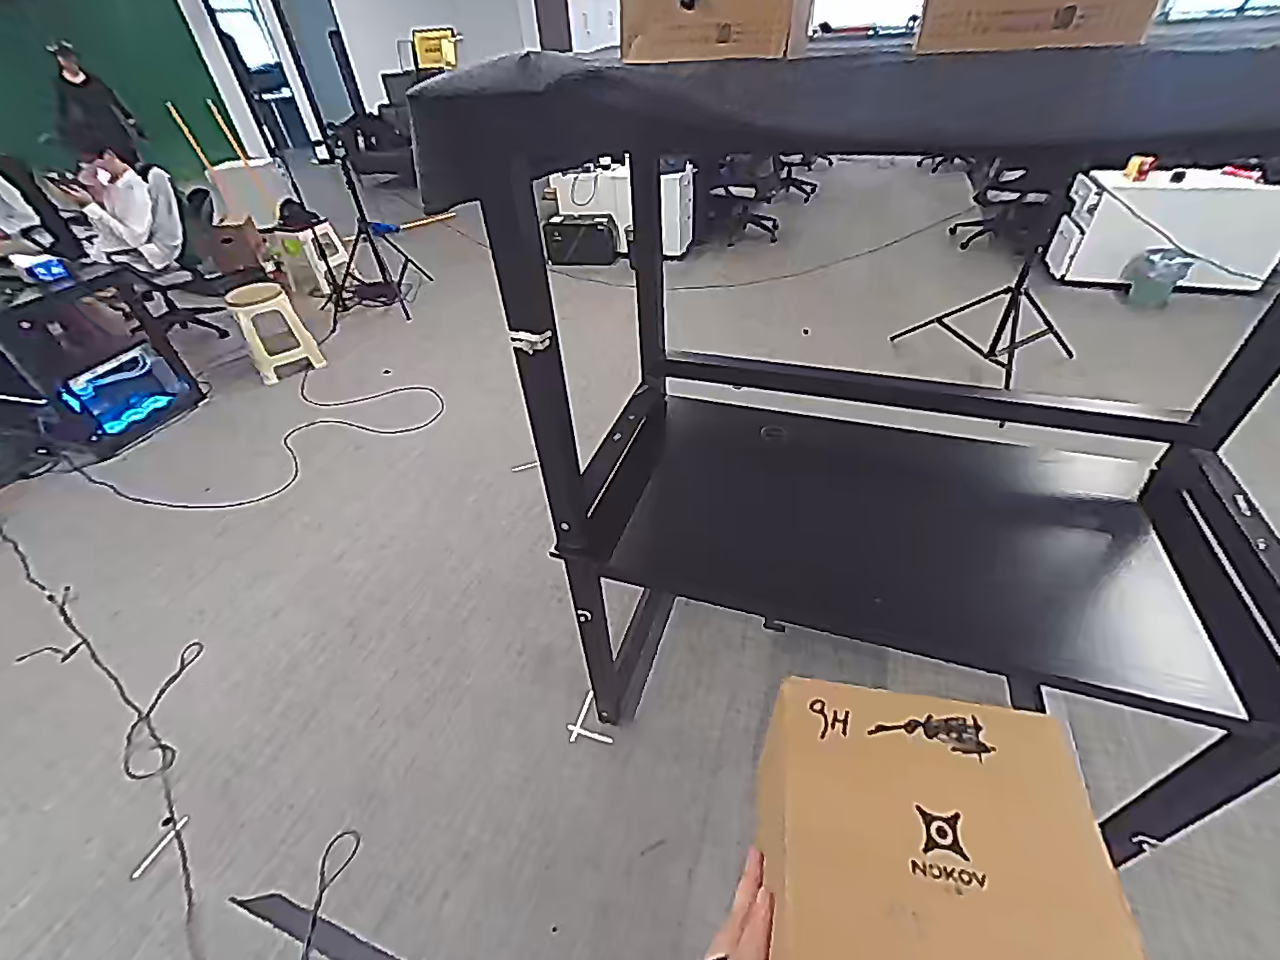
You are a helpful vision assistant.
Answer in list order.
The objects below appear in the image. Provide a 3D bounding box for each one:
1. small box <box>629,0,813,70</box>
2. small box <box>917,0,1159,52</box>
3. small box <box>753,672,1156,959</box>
[{"bbox_3d":[0.087,-0.519,0.536,0.168,0.176,0.179,11,41,15],"label":"small box"},{"bbox_3d":[0.344,-0.471,0.456,0.168,0.176,0.179,11,41,17],"label":"small box"},{"bbox_3d":[0.164,0.250,0.334,0.168,0.176,0.179,6,44,9],"label":"small box"}]
